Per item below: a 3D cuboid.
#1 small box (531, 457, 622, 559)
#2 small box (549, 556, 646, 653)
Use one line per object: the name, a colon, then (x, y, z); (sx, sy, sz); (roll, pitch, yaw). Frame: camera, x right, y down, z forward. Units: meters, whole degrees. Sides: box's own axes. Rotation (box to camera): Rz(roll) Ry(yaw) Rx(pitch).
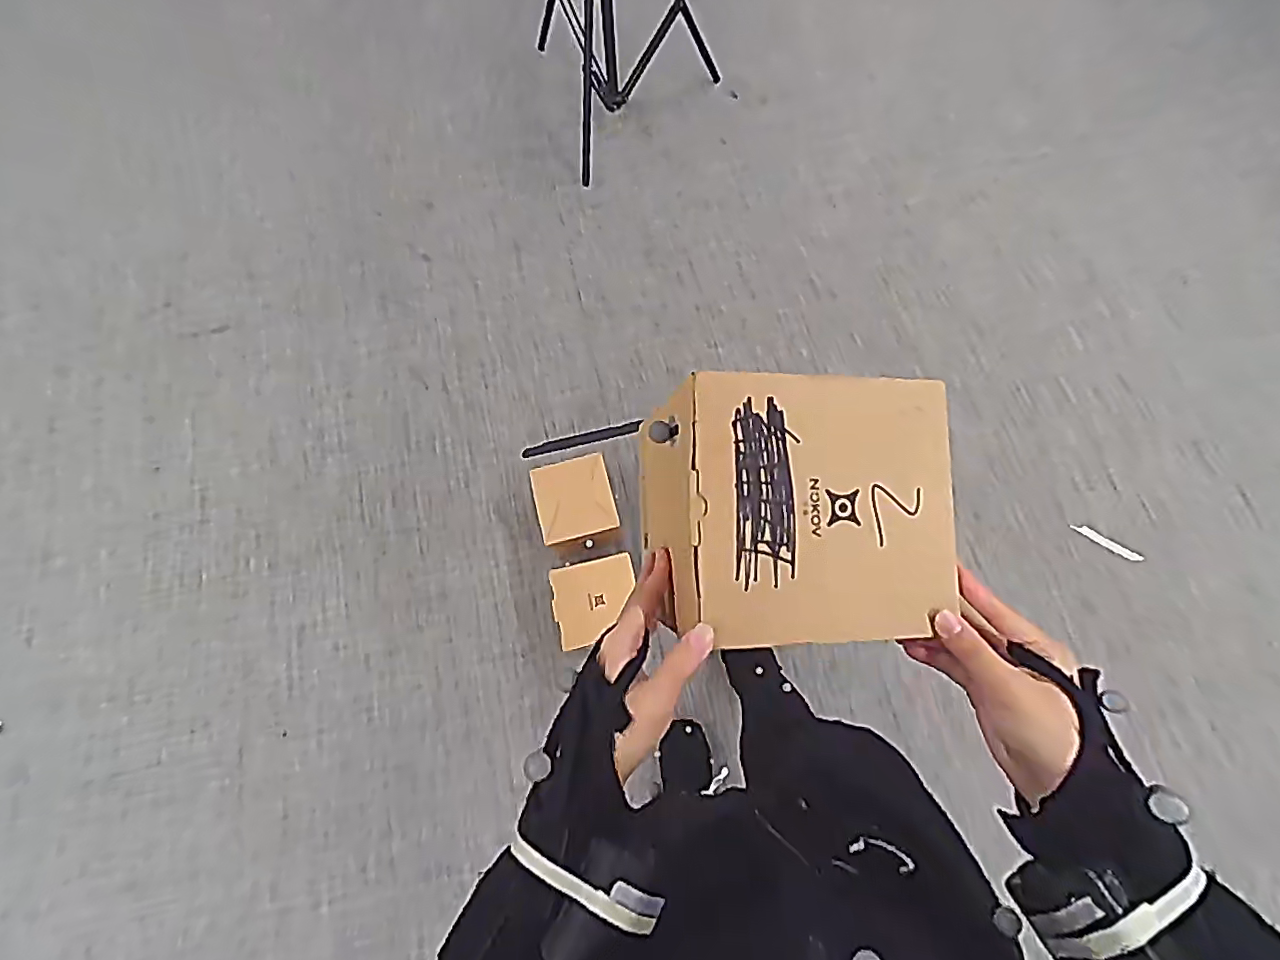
small box: (-0.144, 0.065, 1.244); (0.168, 0.176, 0.179); (-15, 73, -3)
small box: (-0.088, 0.273, 1.183); (0.179, 0.176, 0.168); (-14, 73, -3)
